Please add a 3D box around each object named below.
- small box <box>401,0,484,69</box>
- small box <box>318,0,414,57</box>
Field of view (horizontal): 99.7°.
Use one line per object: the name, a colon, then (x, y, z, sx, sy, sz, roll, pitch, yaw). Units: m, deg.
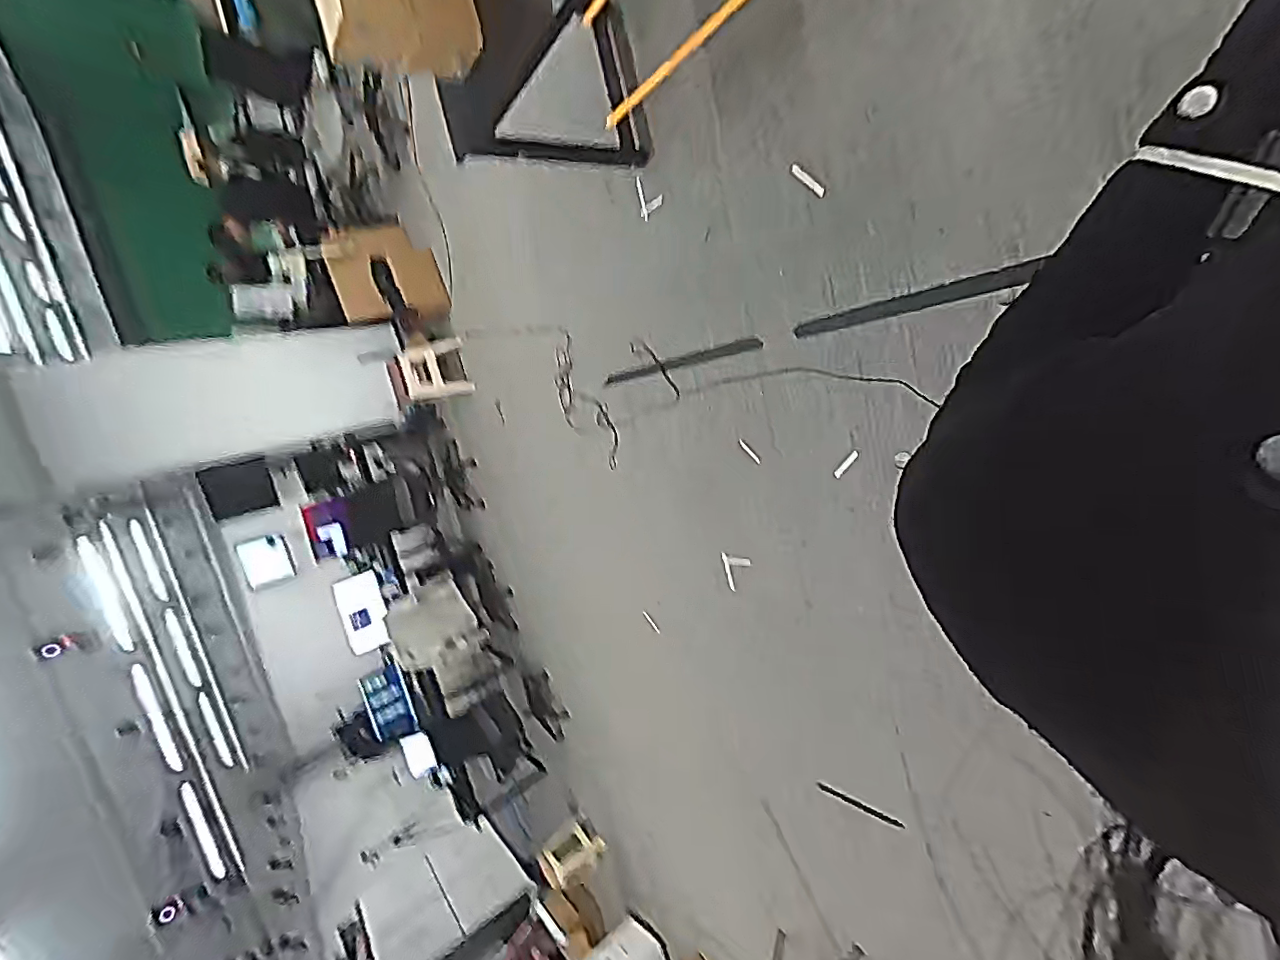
small box: (-0.519, -1.183, 1.365, 0.168, 0.176, 0.179, 4, 110, 54)
small box: (-0.651, -1.144, 1.274, 0.179, 0.176, 0.168, 4, 109, 54)
